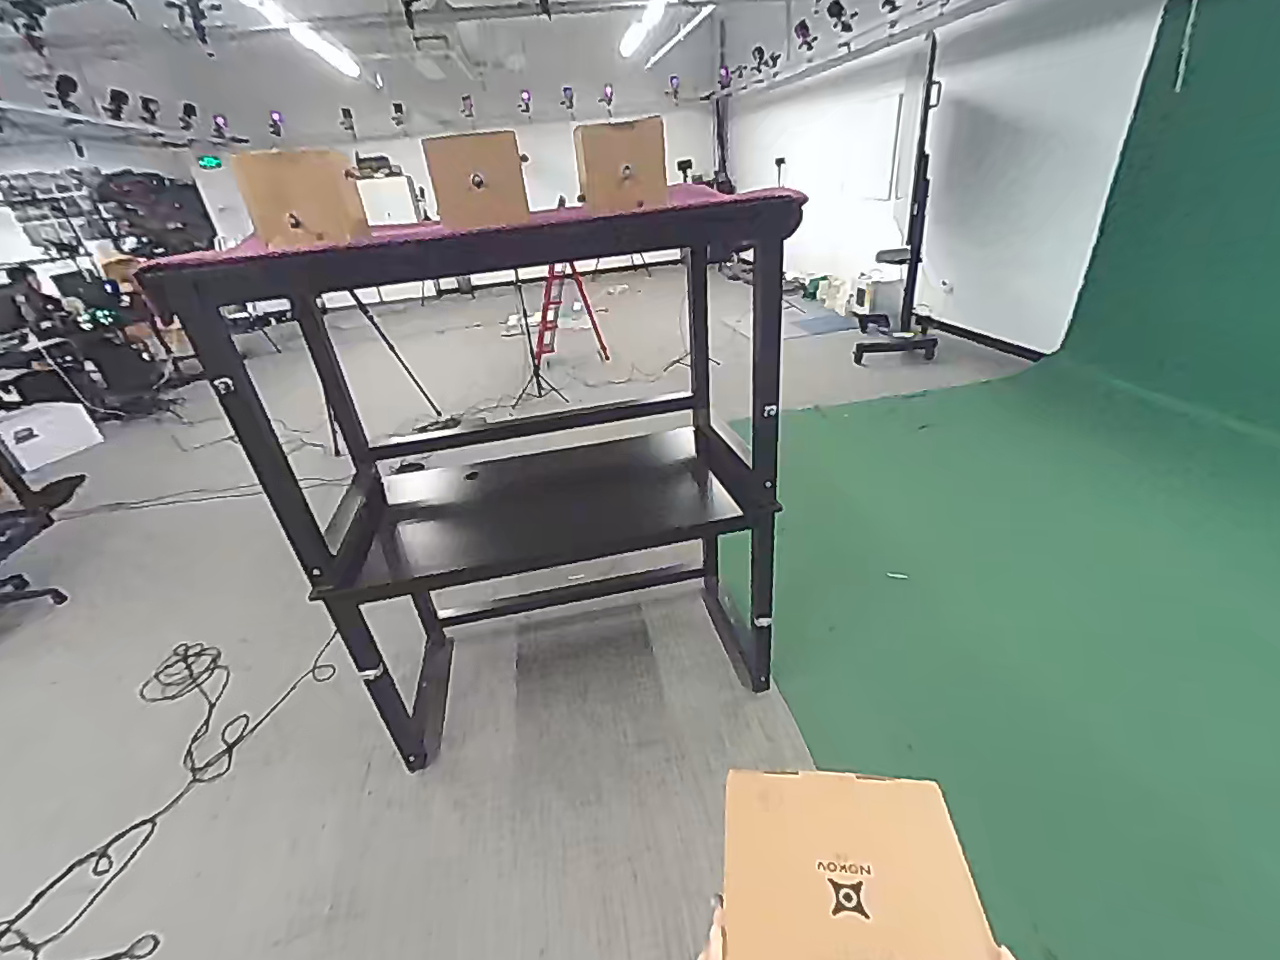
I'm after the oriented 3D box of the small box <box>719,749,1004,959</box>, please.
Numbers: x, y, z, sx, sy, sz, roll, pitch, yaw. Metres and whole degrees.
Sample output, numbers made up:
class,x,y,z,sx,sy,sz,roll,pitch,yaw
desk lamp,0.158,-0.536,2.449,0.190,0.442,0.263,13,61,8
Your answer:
class,x,y,z,sx,sy,sz,roll,pitch,yaw
small box,0.147,0.335,0.399,0.168,0.176,0.179,-2,25,12

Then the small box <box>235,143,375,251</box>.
class,x,y,z,sx,sy,sz,roll,pitch,yaw
small box,-0.635,-0.545,1.051,0.168,0.176,0.179,-11,29,-11

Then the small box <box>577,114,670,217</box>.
class,x,y,z,sx,sy,sz,roll,pitch,yaw
small box,-0.036,-0.659,1.144,0.168,0.176,0.179,-10,31,-6
